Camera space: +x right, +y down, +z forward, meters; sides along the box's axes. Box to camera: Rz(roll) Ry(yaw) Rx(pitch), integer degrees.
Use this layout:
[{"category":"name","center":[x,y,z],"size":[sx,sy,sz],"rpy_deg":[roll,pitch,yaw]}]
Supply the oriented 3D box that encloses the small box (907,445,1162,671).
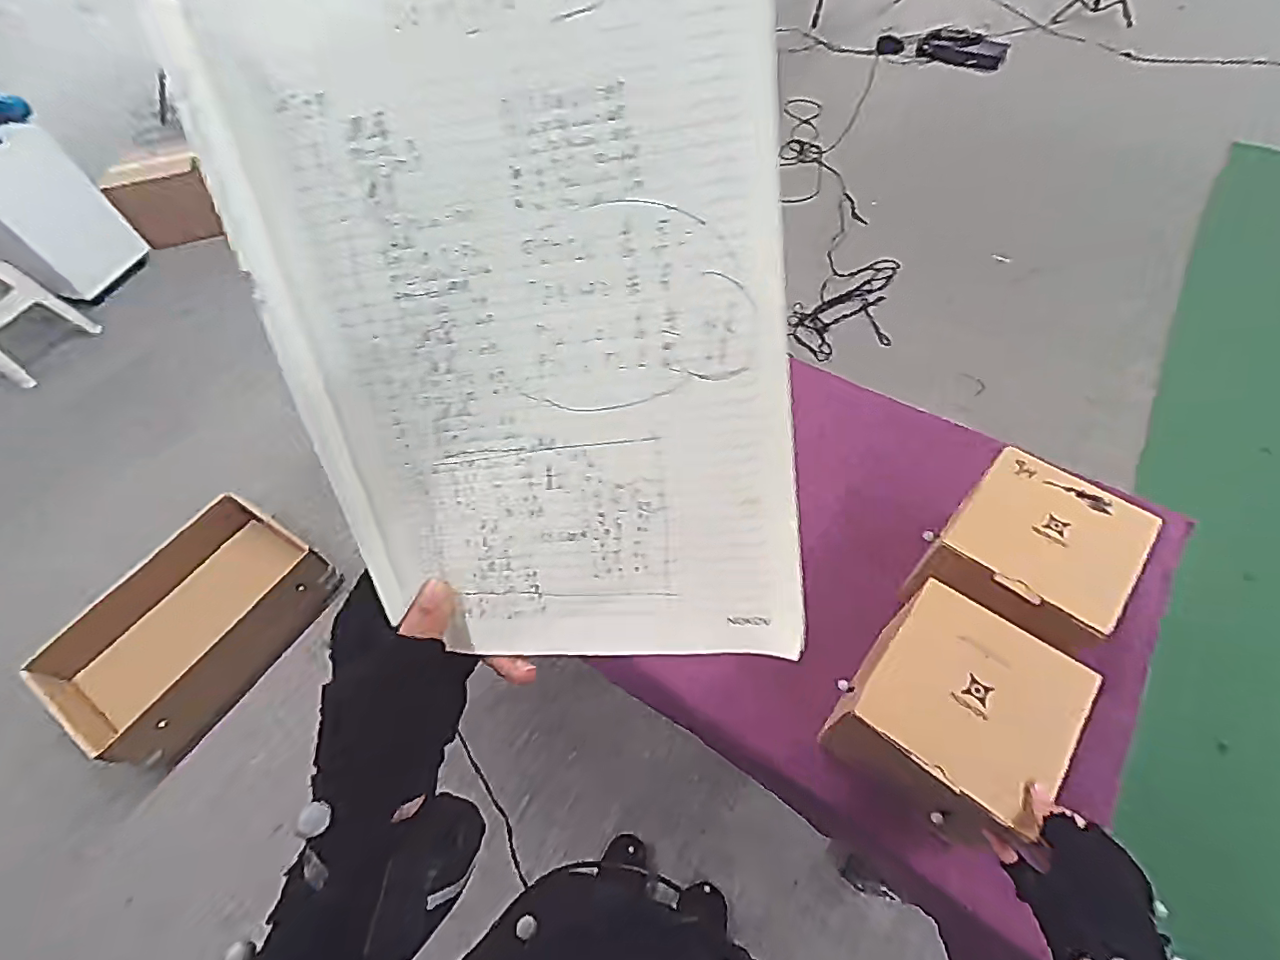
[{"category":"small box","center":[0.452,0.099,0.651],"size":[0.168,0.176,0.179],"rpy_deg":[36,67,25]}]
